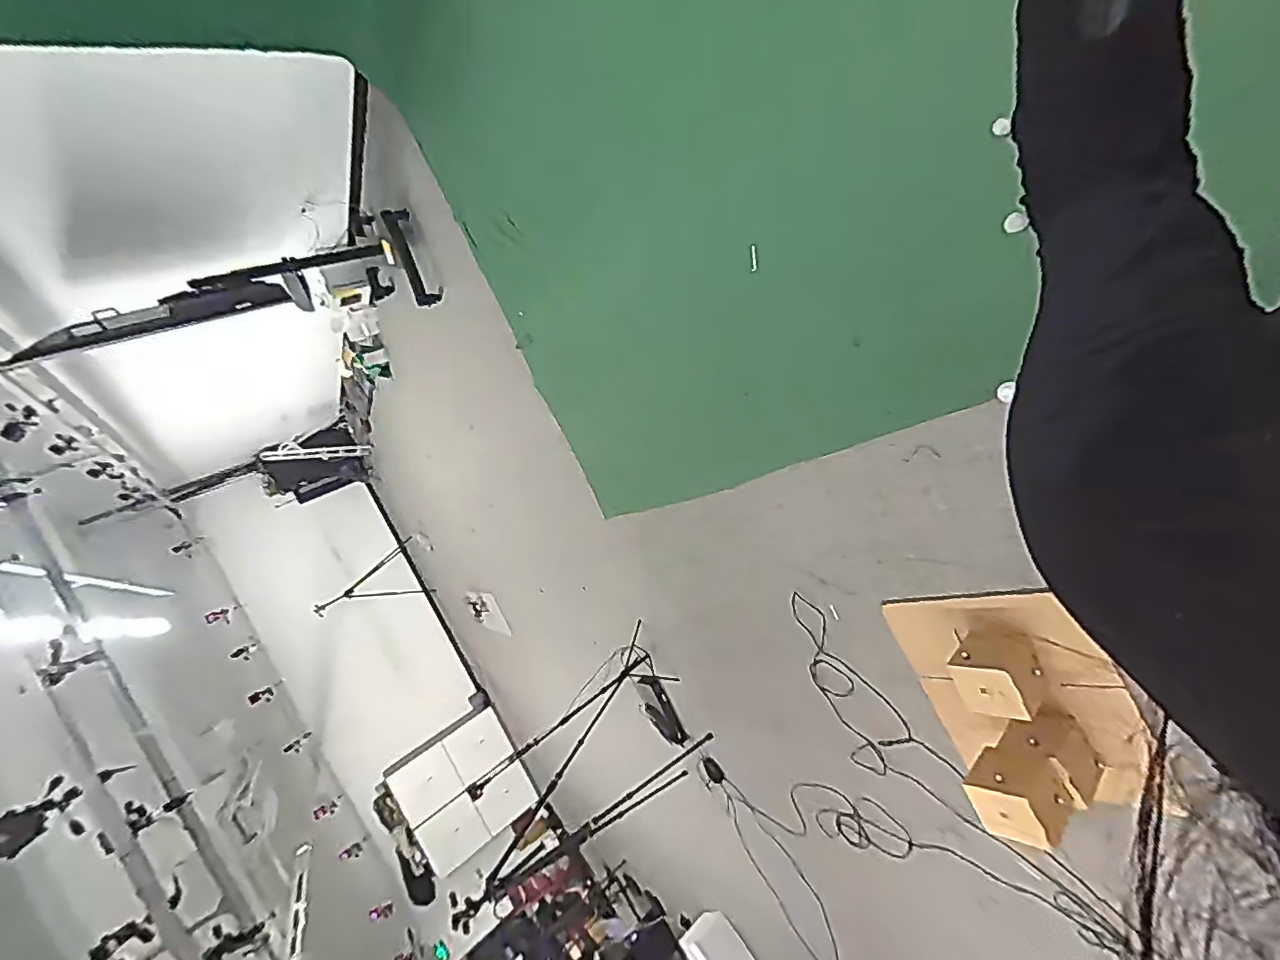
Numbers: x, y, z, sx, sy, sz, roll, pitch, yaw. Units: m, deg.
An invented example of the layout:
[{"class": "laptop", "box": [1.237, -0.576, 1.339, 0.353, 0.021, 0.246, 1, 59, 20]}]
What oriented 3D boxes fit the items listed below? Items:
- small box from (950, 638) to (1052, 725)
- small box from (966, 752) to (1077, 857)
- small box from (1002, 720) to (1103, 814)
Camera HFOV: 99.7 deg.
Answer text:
[{"class": "small box", "box": [1.062, 0.583, 1.589, 0.179, 0.176, 0.168, -21, 97, 57]}, {"class": "small box", "box": [1.065, 0.893, 1.510, 0.168, 0.176, 0.179, 62, 148, 0]}, {"class": "small box", "box": [1.202, 0.824, 1.572, 0.168, 0.176, 0.179, 60, 148, 2]}]
